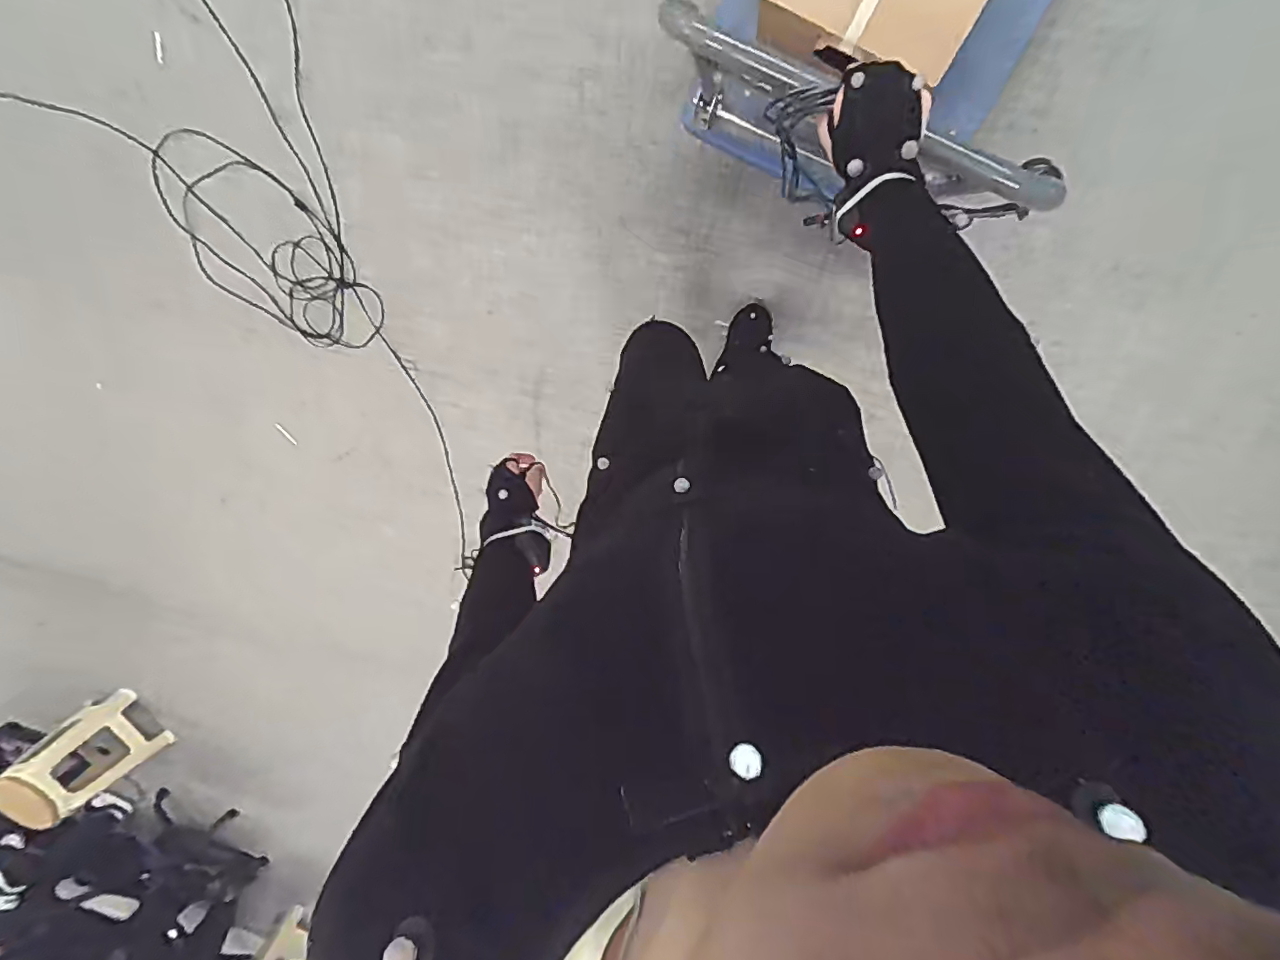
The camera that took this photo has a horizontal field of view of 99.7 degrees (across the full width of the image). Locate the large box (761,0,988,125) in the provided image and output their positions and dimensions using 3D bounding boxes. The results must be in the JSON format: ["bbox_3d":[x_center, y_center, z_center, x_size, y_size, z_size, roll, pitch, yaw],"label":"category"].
[{"bbox_3d":[0.431,-0.892,0.884,0.320,0.320,0.408,27,113,-2],"label":"large box"}]
